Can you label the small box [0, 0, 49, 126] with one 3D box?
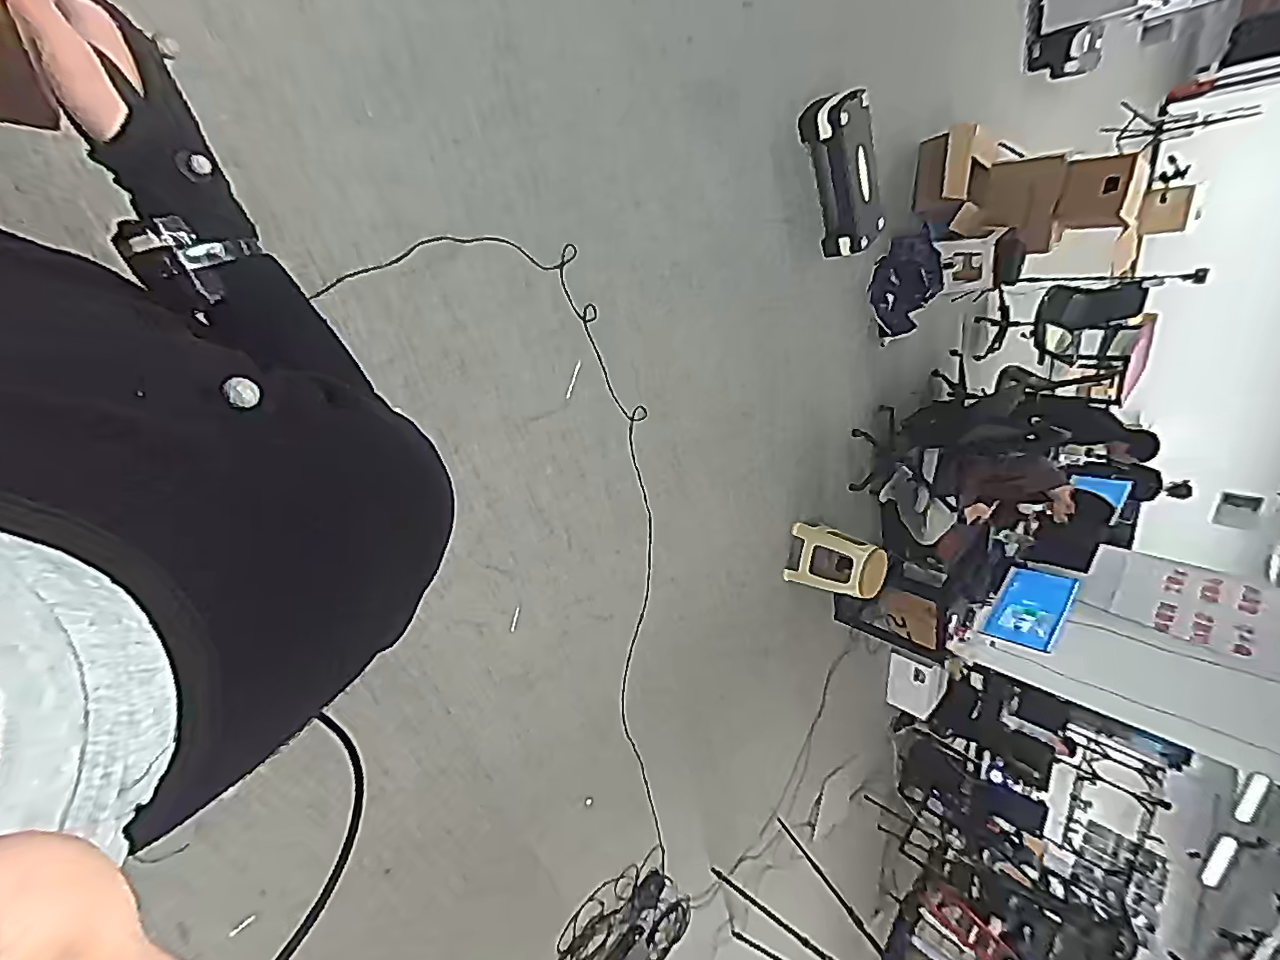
[{"bbox_3d":[-0.449,-0.328,0.276,0.168,0.176,0.179,-9,90,-38],"label":"small box"}]
